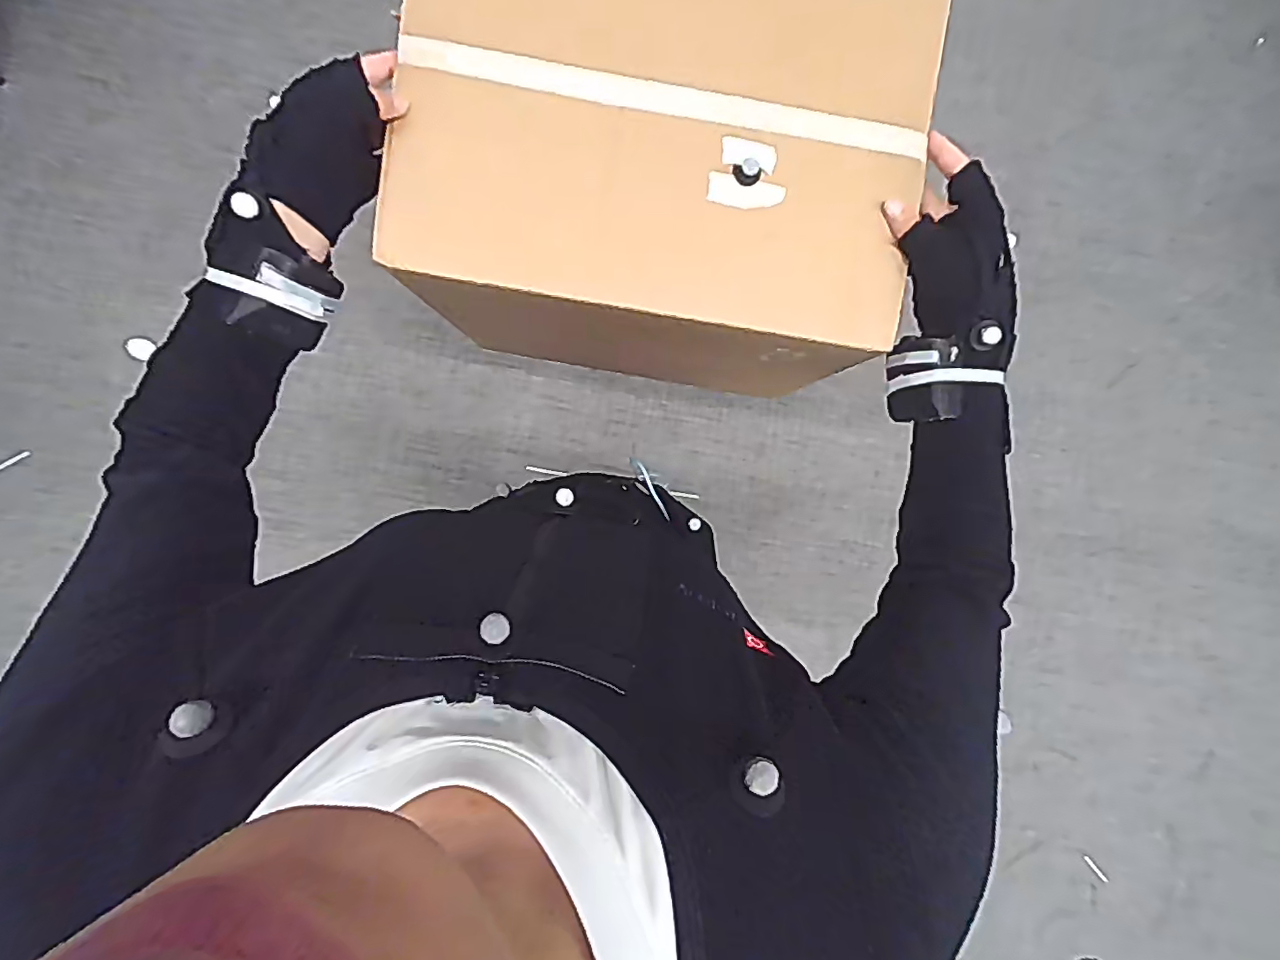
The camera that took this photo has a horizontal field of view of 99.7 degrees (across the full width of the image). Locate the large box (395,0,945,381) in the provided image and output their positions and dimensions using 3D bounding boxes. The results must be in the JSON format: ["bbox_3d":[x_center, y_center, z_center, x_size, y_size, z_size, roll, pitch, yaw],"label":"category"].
[{"bbox_3d":[0.019,-0.303,0.566,0.408,0.320,0.320,9,93,-3],"label":"large box"}]
